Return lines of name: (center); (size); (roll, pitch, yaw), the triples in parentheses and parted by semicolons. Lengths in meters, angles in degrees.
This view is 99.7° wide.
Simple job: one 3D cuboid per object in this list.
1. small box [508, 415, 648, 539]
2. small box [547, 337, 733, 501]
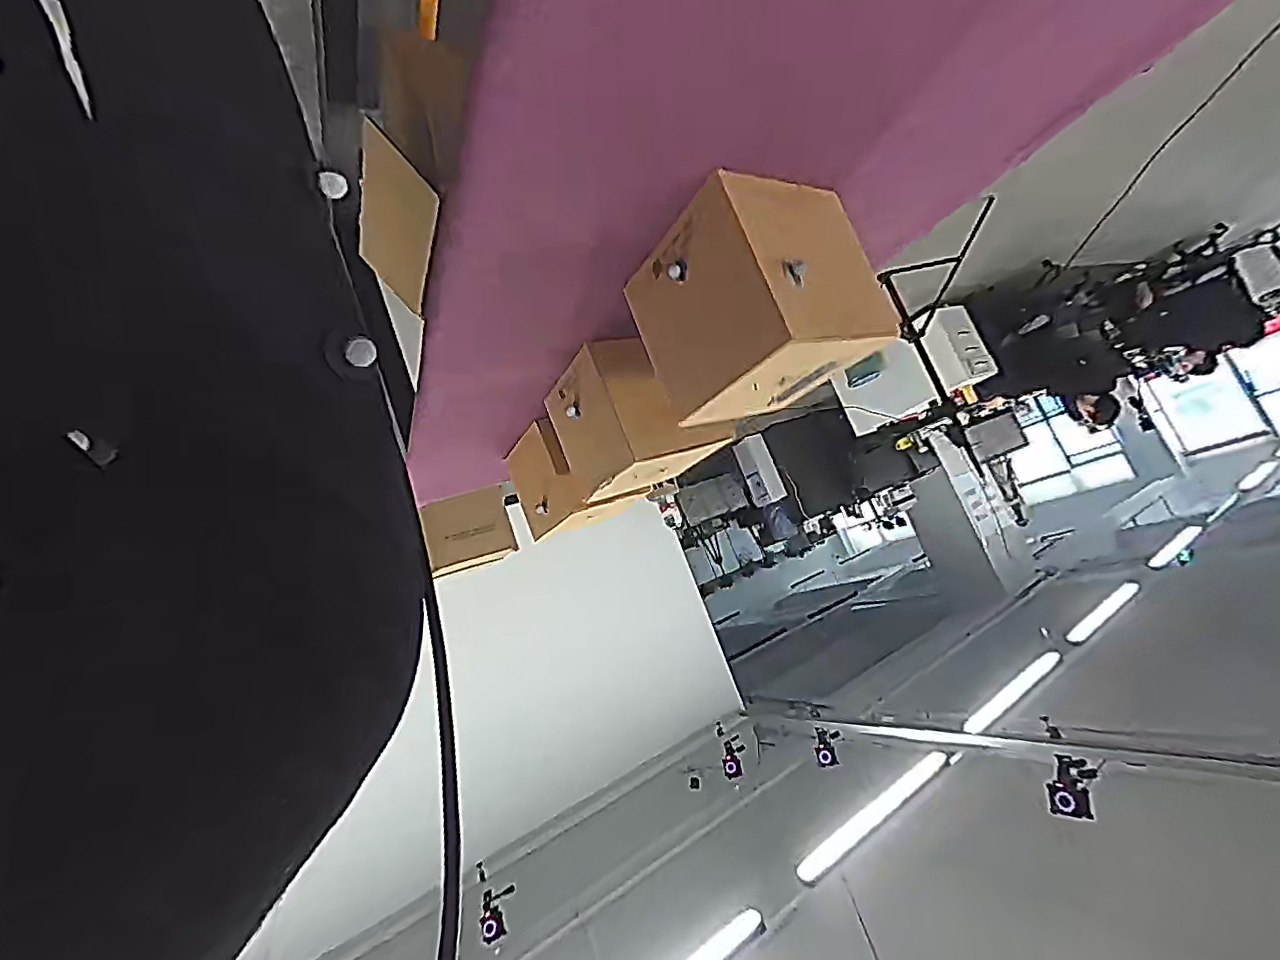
small box: (-0.120, -0.013, 0.968); (0.168, 0.176, 0.179); (-16, 169, -36)
small box: (-0.006, -0.090, 0.770); (0.179, 0.176, 0.168); (-16, 169, -34)
